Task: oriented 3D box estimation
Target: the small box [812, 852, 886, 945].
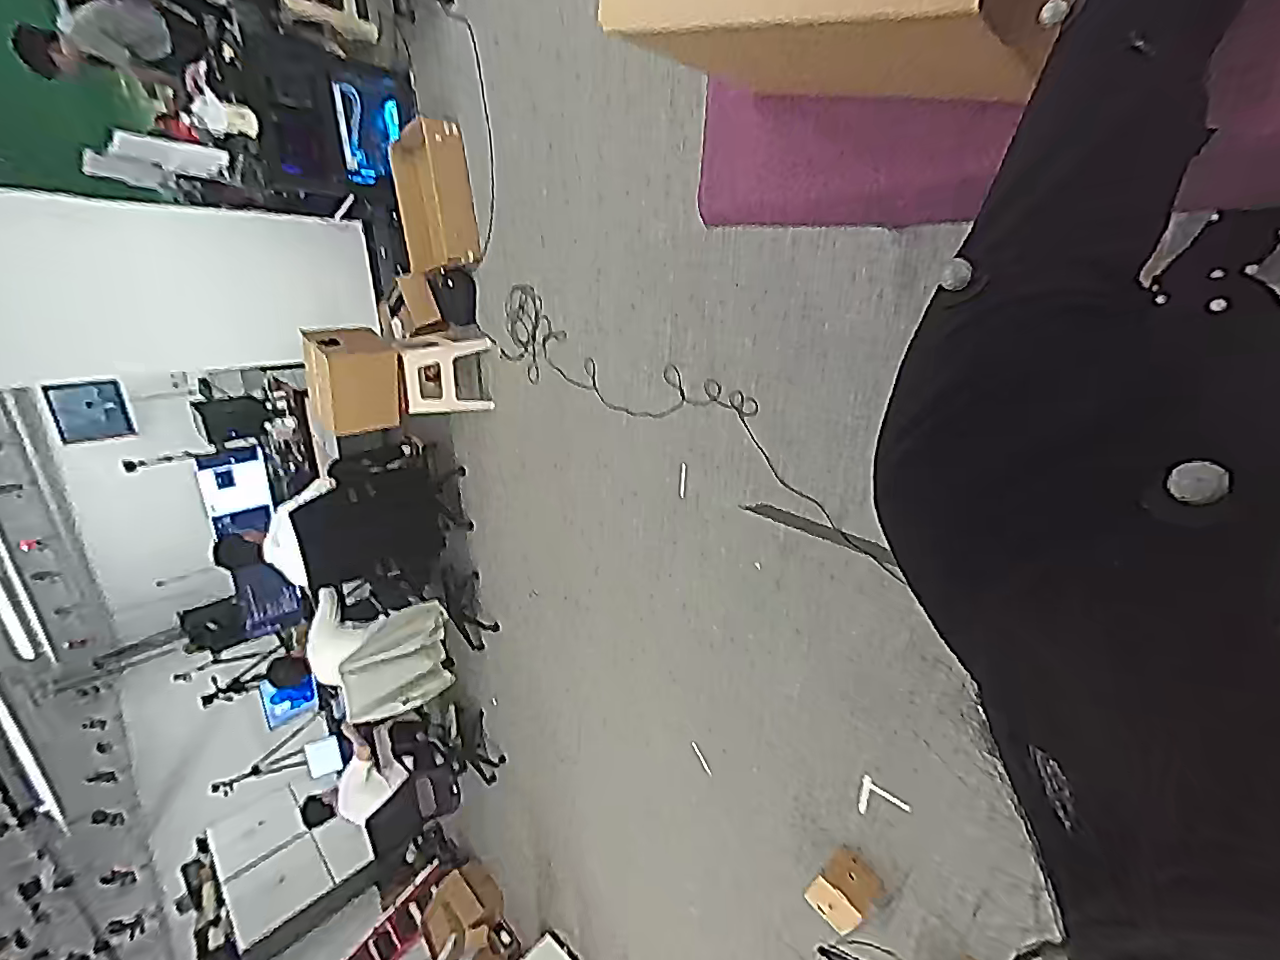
[{"bbox_3d":[0.753,1.489,1.935,0.168,0.176,0.179,36,127,33],"label":"small box"}]
